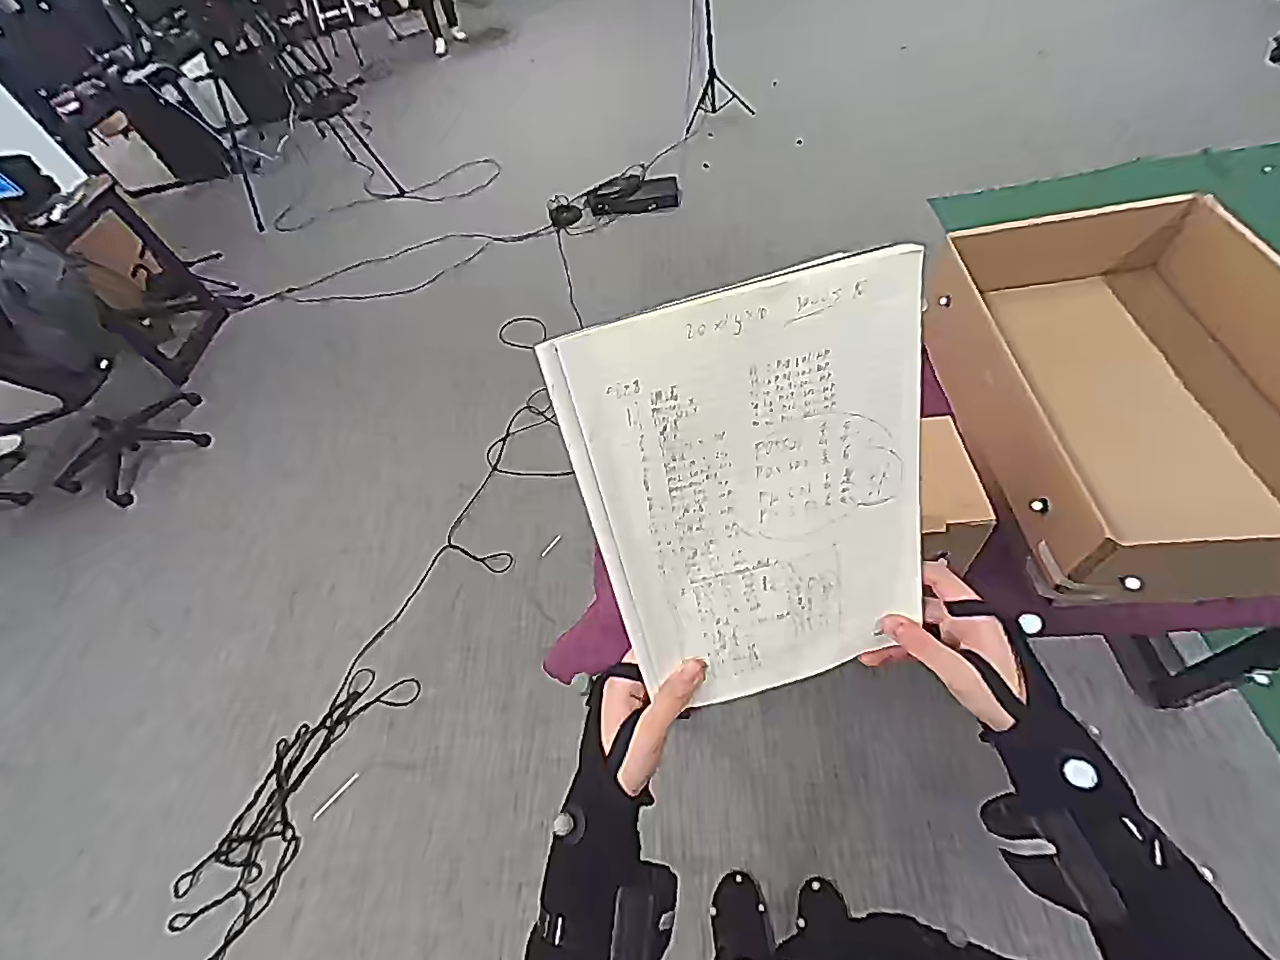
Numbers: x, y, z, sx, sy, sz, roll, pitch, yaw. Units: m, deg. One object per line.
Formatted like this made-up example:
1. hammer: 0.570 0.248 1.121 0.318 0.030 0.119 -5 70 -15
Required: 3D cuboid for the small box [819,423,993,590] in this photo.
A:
1. small box: 0.355 0.045 0.760 0.168 0.176 0.179 -5 51 9
